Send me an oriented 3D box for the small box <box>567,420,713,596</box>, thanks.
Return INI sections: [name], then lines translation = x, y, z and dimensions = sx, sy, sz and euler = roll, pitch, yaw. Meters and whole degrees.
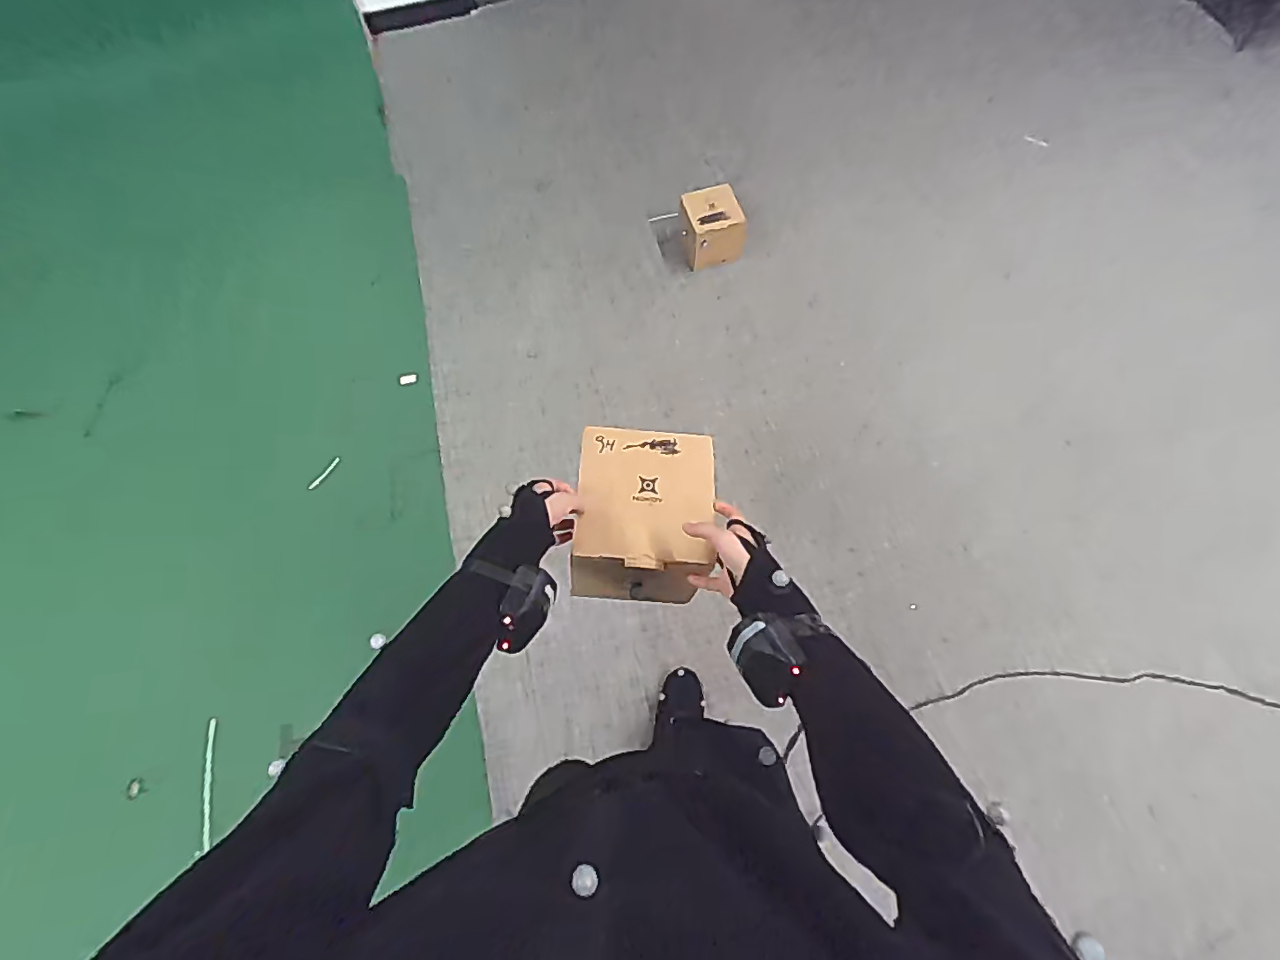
[small box]
translation = -0.003, 0.045, 0.708
dimensions = 0.168, 0.176, 0.179
euler = 5, 63, -5
